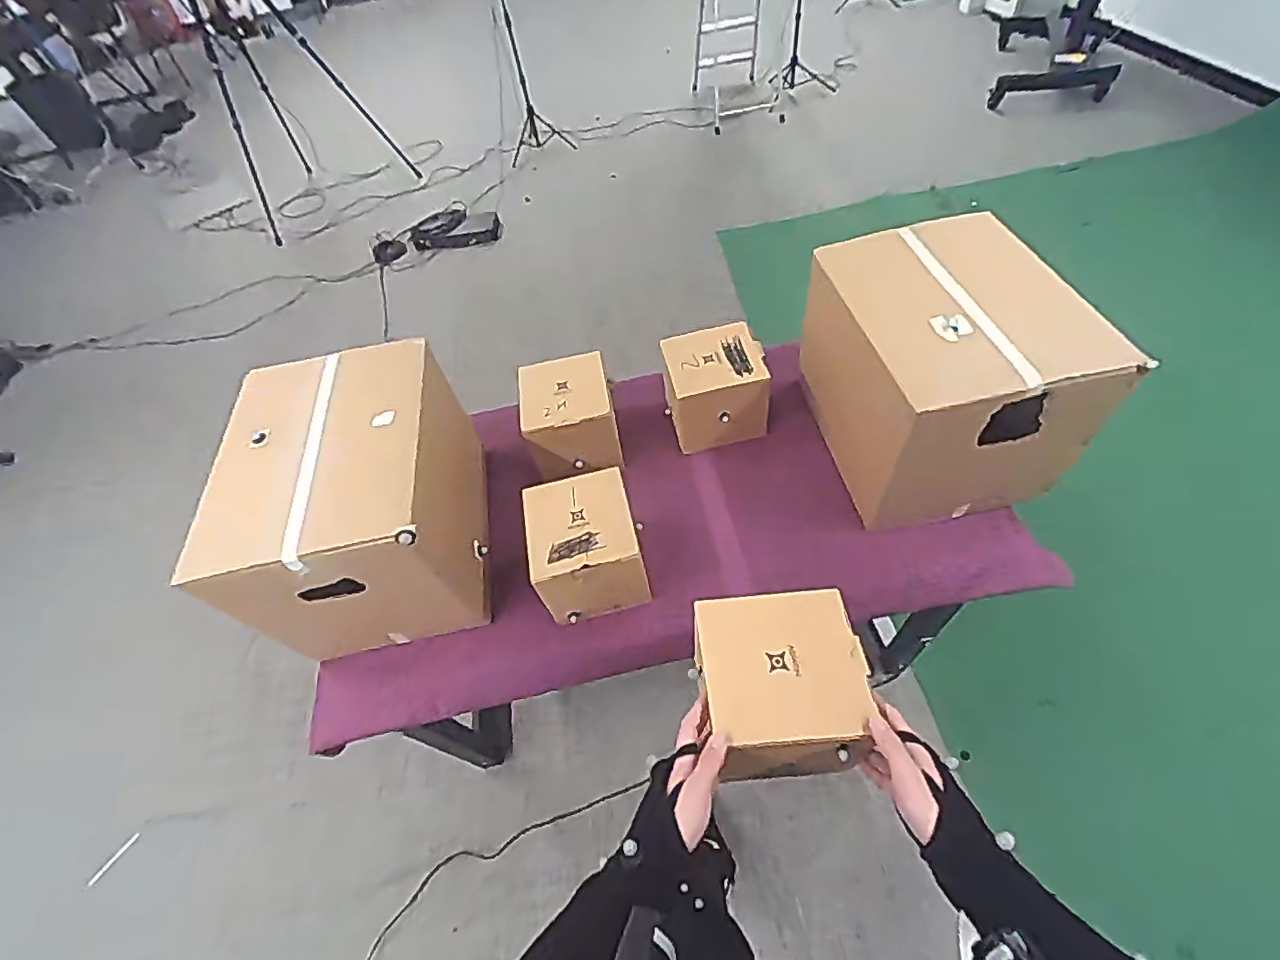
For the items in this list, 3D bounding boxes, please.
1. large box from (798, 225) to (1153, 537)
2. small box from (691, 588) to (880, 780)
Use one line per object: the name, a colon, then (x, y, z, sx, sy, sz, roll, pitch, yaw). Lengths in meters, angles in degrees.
large box: (0.500, -0.169, 0.933, 0.320, 0.320, 0.408, -12, 54, 2)
small box: (0.159, 0.250, 0.653, 0.179, 0.176, 0.168, -5, 49, 1)
